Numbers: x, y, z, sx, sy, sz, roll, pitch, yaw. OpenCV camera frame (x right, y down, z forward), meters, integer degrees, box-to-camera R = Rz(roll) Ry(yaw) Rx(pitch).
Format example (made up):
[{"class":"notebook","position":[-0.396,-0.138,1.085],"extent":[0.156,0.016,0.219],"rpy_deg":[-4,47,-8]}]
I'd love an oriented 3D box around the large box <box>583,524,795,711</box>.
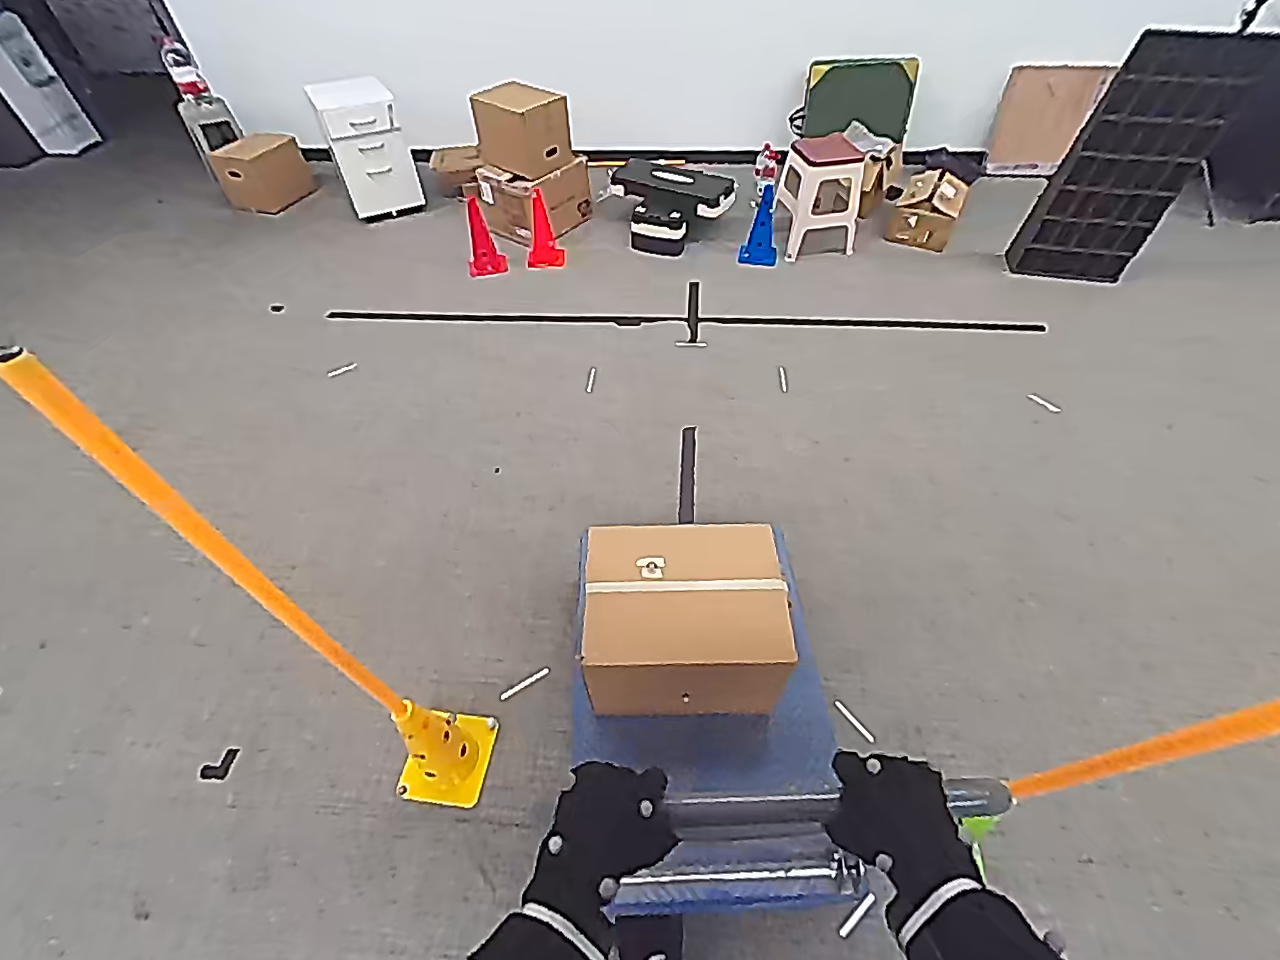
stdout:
[{"class":"large box","position":[0.095,0.317,1.216],"extent":[0.408,0.320,0.320],"rpy_deg":[-2,50,1]}]

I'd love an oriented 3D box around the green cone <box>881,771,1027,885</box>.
[{"class":"green cone","position":[0.657,0.669,1.089],"extent":[0.202,0.368,0.200],"rpy_deg":[6,50,5]}]
